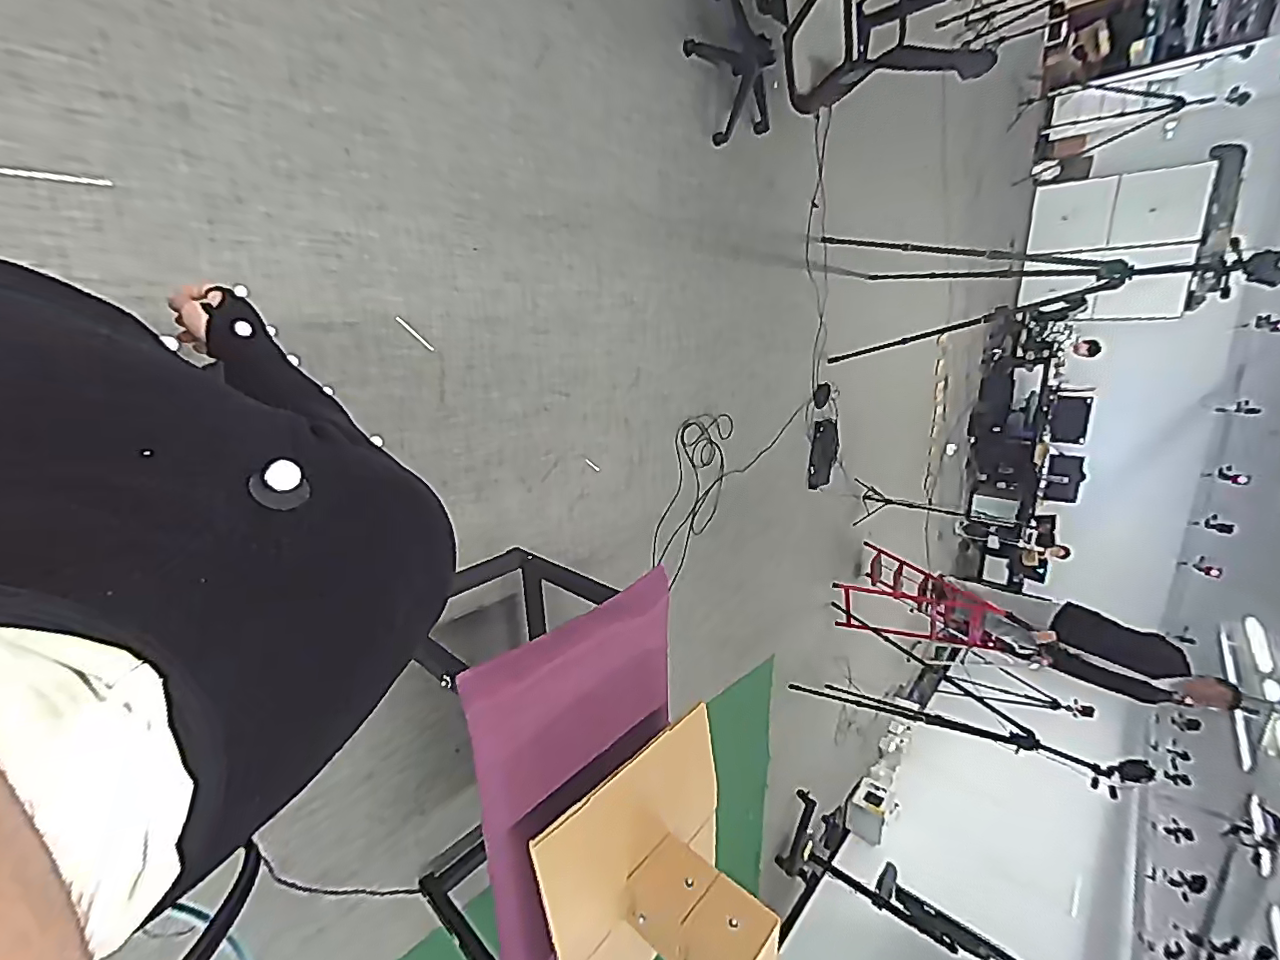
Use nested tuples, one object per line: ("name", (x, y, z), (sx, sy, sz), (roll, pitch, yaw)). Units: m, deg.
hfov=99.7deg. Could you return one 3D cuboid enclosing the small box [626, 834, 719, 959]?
("small box", (0.084, 1.069, 1.394), (0.179, 0.176, 0.168), (-19, 115, -44))
